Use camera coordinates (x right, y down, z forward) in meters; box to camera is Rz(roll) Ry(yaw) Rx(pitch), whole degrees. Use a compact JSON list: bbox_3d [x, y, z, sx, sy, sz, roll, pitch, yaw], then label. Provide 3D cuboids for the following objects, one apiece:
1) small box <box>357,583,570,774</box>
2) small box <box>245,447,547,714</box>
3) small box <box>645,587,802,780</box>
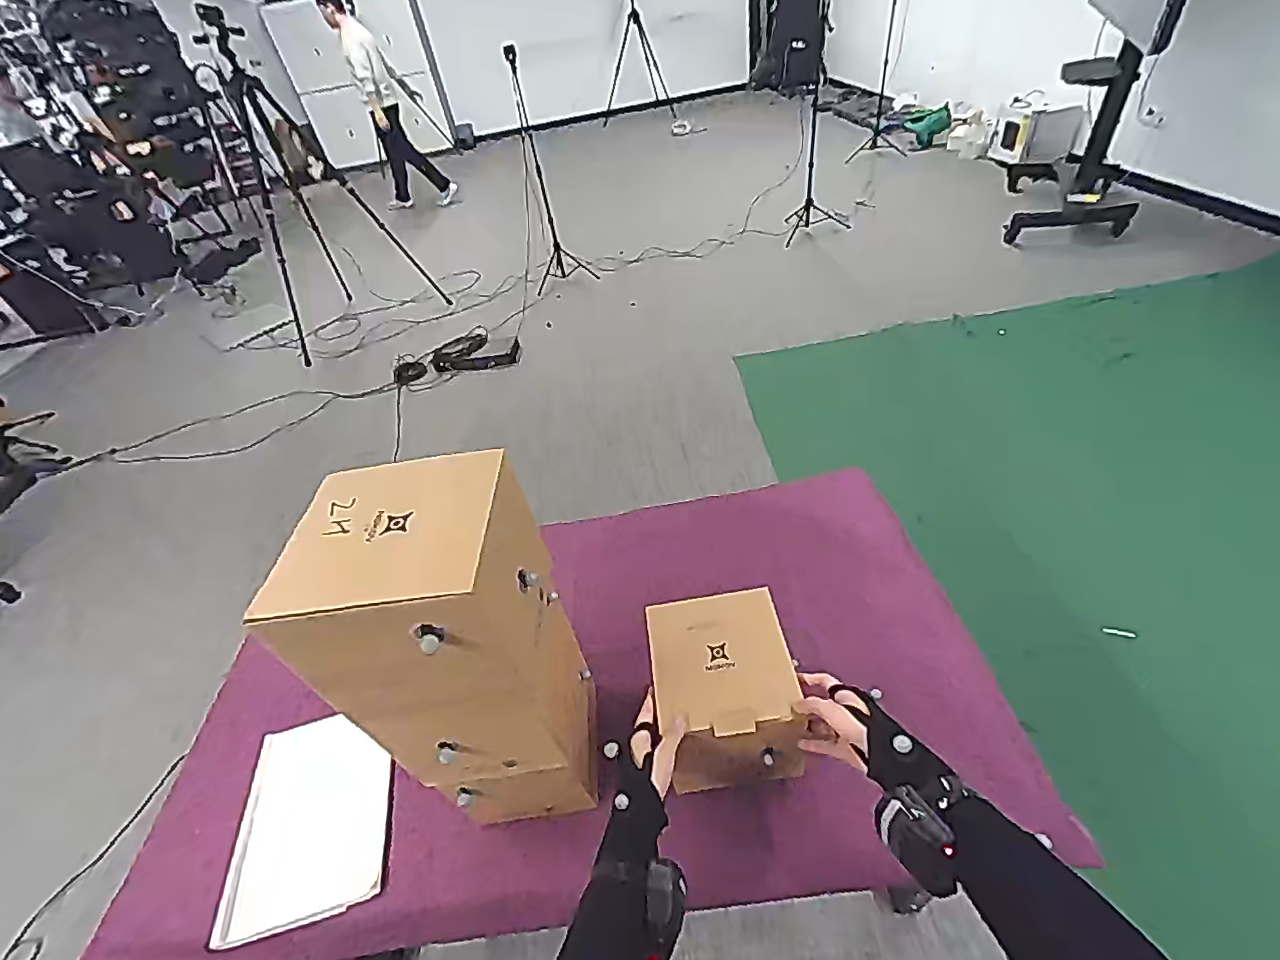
[{"bbox_3d":[-0.178,0.211,0.612,0.168,0.176,0.179,-9,41,2],"label":"small box"},{"bbox_3d":[-0.193,0.094,0.497,0.179,0.176,0.168,-8,41,4],"label":"small box"},{"bbox_3d":[0.105,0.269,0.703,0.168,0.176,0.179,-9,41,2],"label":"small box"}]
